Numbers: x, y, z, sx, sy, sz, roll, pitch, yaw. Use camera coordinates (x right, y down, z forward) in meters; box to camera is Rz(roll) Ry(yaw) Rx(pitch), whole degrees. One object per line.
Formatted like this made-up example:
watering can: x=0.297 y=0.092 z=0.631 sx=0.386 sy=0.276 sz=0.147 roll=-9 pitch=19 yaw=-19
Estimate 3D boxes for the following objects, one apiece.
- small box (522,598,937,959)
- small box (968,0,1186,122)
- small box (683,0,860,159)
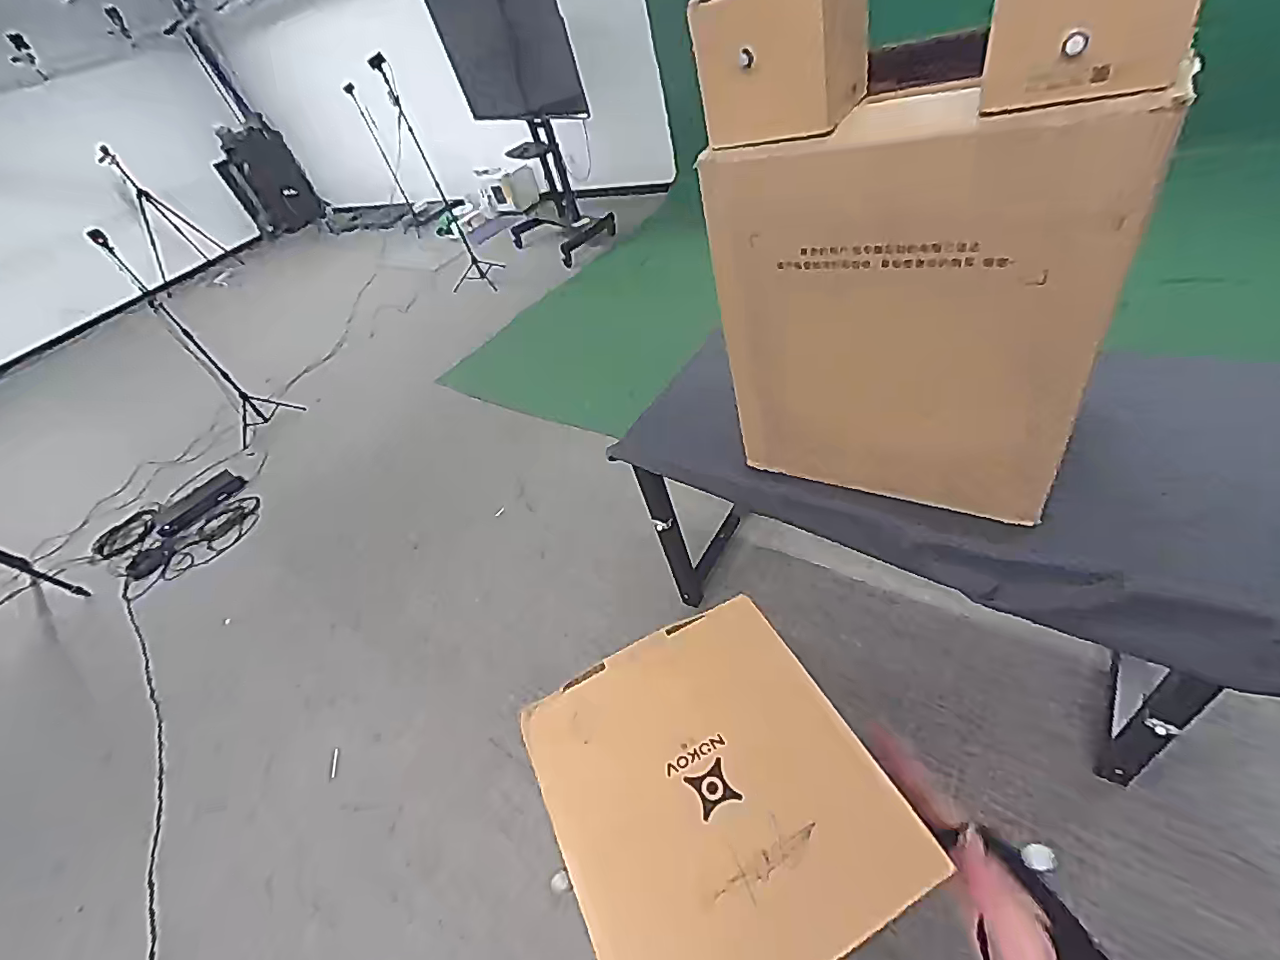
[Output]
small box: x=0.042 y=0.217 z=0.351 sx=0.168 sy=0.176 sz=0.179 roll=-24 pitch=48 yaw=-13
small box: x=0.459 y=-0.505 z=0.571 sx=0.168 sy=0.176 sz=0.179 roll=10 pitch=50 yaw=29
small box: x=0.189 y=-0.565 z=0.744 sx=0.179 sy=0.176 sz=0.168 roll=13 pitch=52 yaw=35
